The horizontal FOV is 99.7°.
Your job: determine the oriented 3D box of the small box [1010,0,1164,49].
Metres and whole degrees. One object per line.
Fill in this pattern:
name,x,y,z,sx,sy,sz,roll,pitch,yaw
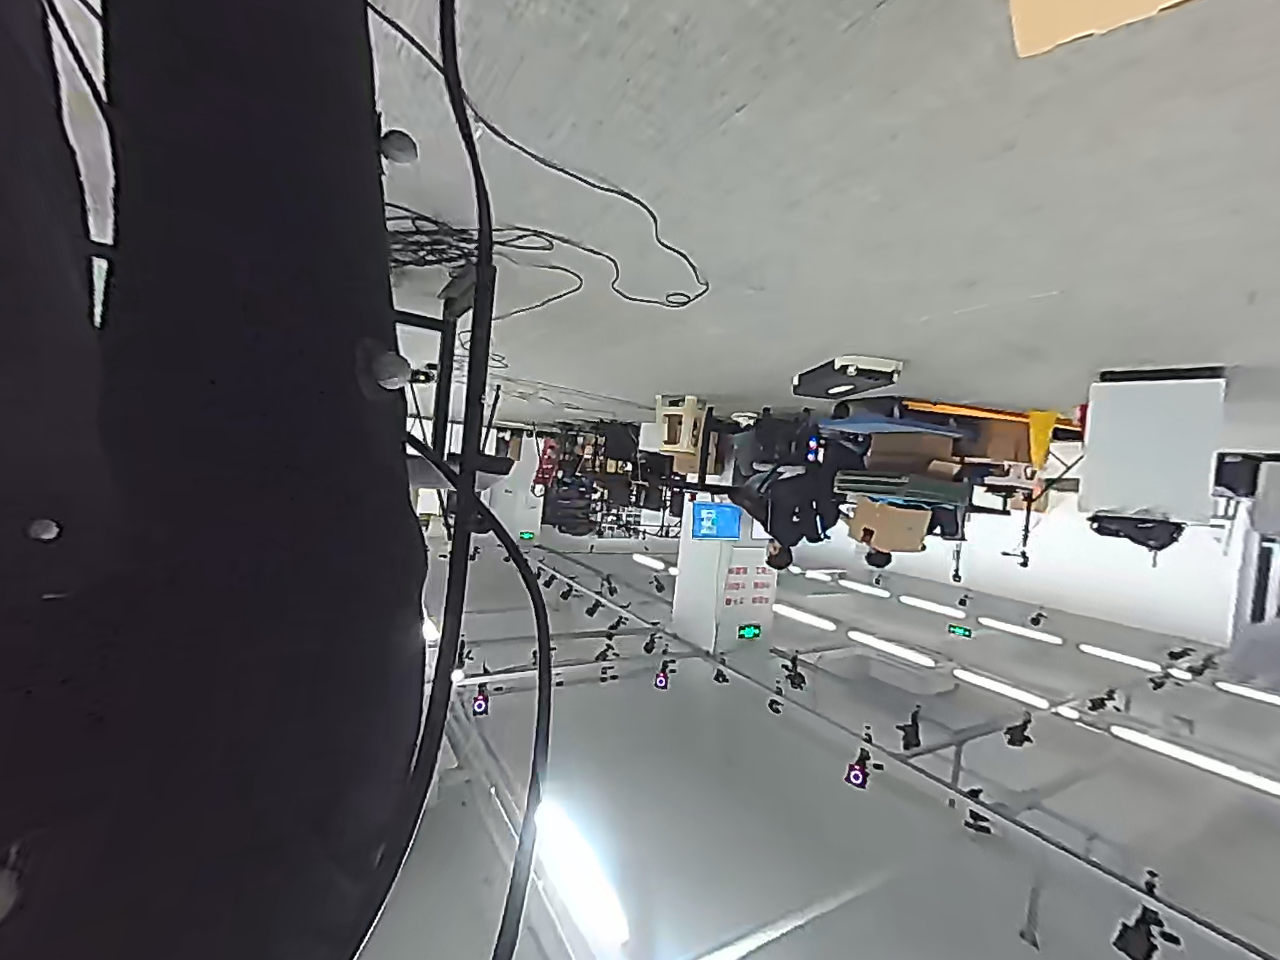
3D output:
small box,0.400,-0.514,0.430,0.168,0.176,0.179,6,-179,41
